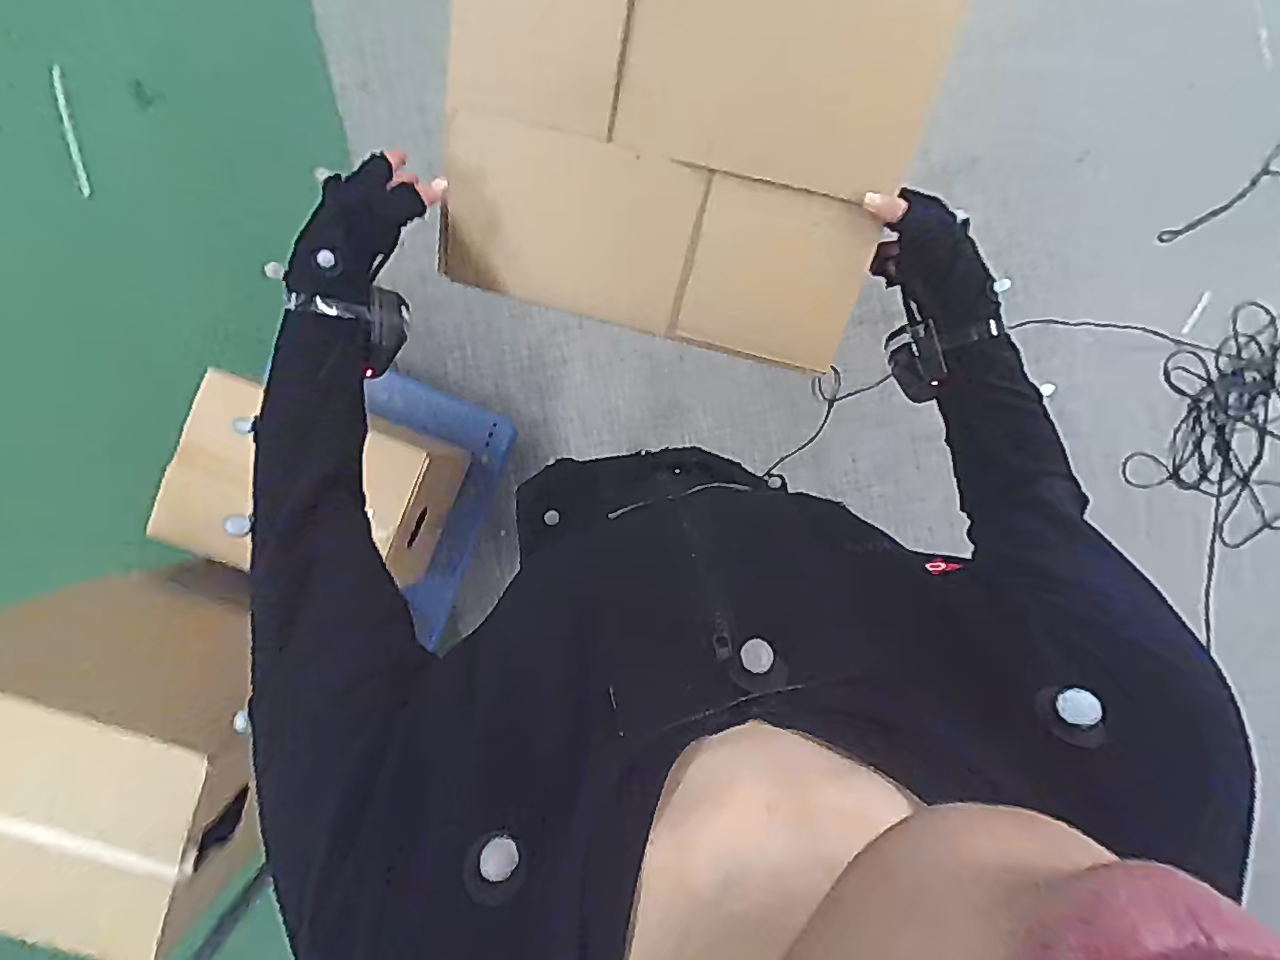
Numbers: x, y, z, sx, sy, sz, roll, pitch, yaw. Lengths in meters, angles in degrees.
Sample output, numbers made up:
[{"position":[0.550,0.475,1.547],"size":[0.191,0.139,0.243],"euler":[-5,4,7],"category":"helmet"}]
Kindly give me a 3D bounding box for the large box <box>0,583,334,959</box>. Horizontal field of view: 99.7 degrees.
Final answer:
[{"position":[-0.747,0.390,0.783],"size":[0.408,0.320,0.320],"euler":[19,96,-3],"category":"large box"}]
